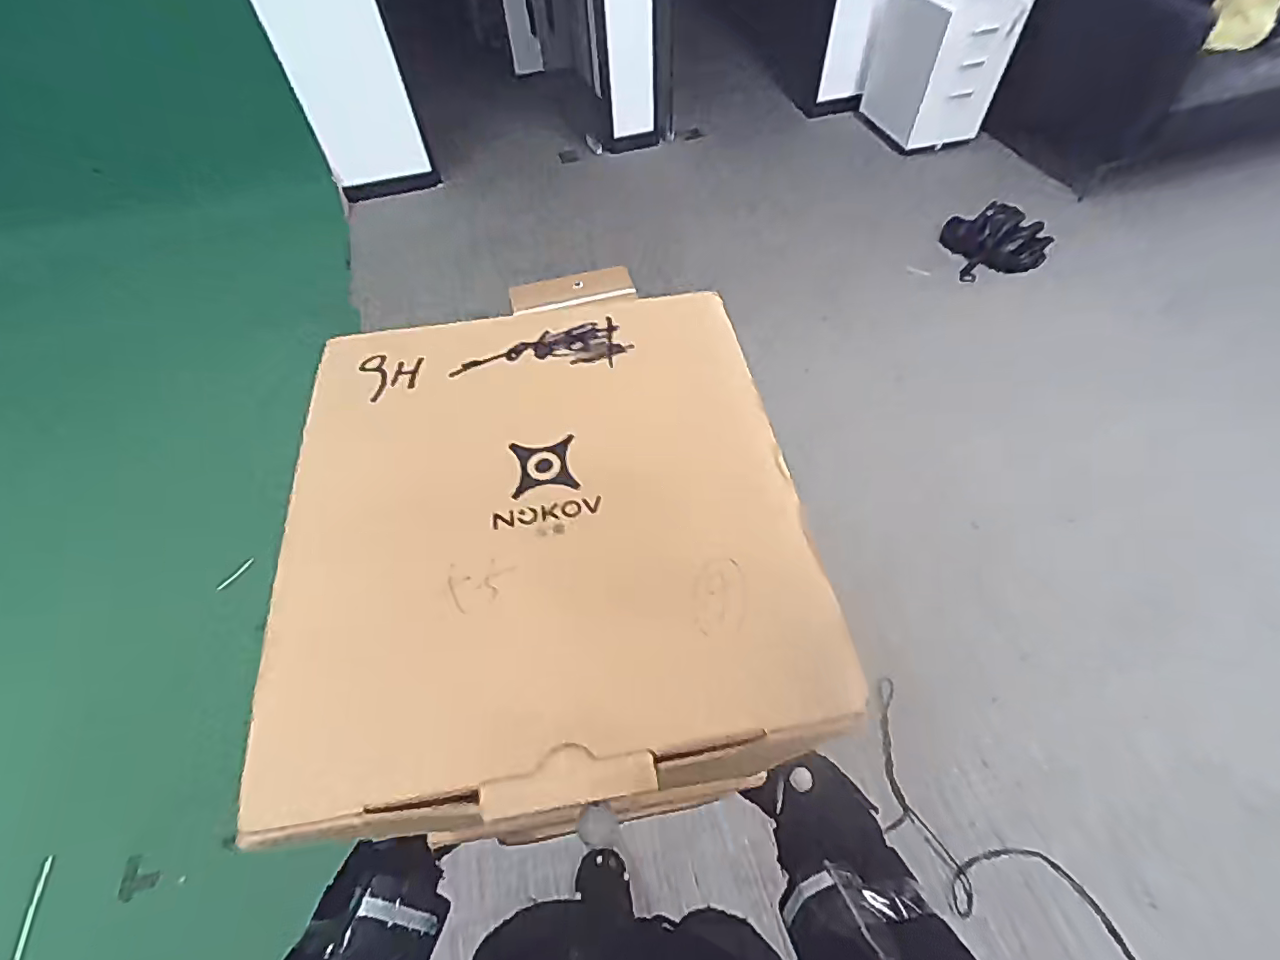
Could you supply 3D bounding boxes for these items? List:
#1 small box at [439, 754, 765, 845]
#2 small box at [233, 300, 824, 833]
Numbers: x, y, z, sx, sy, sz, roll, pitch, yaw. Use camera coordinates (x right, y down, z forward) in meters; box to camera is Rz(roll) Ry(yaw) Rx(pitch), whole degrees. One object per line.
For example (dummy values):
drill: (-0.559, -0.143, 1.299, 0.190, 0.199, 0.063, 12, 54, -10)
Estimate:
small box: (-0.033, 0.142, 0.389, 0.179, 0.176, 0.168, -10, 59, -6)
small box: (-0.037, 0.047, 0.256, 0.168, 0.176, 0.179, -8, 59, -4)
